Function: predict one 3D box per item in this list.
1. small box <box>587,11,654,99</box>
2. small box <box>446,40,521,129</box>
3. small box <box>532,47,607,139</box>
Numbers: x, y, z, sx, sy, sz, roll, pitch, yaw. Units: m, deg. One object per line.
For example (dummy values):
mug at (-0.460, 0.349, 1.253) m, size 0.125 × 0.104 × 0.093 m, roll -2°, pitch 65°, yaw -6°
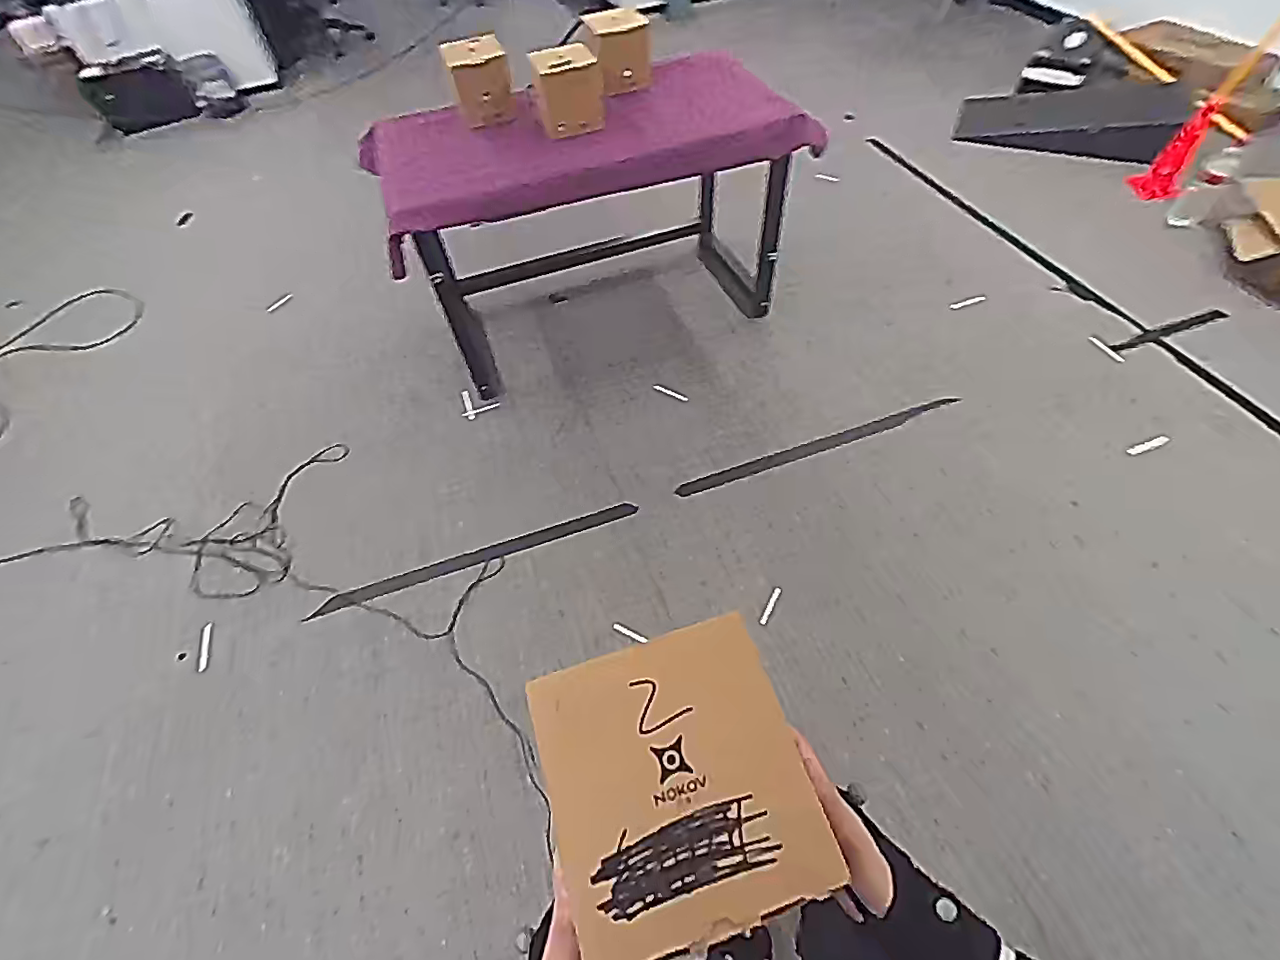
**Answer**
small box at (-0.060, -1.360, 1.733) m, size 0.168 × 0.176 × 0.179 m, roll -19°, pitch 57°, yaw -7°
small box at (-0.476, -1.209, 1.663) m, size 0.168 × 0.176 × 0.179 m, roll -19°, pitch 58°, yaw -9°
small box at (-0.204, -1.130, 1.590) m, size 0.168 × 0.176 × 0.179 m, roll -18°, pitch 55°, yaw -8°
